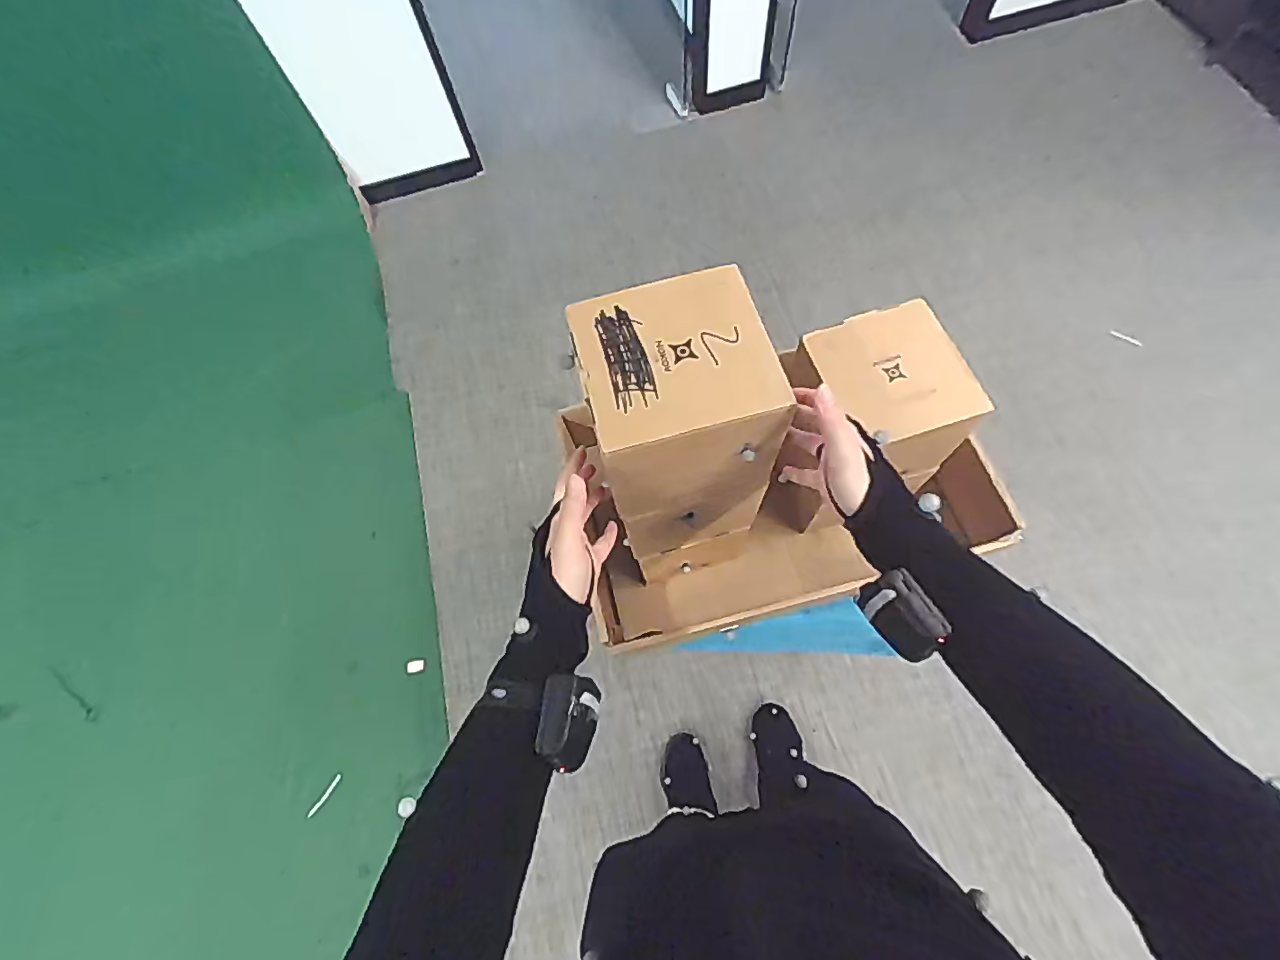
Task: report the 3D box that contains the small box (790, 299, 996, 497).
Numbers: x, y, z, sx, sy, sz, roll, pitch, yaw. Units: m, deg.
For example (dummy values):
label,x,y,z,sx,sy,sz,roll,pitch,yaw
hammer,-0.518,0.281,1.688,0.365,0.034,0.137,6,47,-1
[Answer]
label,x,y,z,sx,sy,sz,roll,pitch,yaw
small box,0.314,-0.101,0.719,0.168,0.176,0.179,-17,67,0

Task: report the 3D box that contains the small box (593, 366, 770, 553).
label,x,y,z,sx,sy,sz,roll,pitch,yaw
small box,0.052,-0.017,0.709,0.179,0.176,0.168,-16,67,-3
